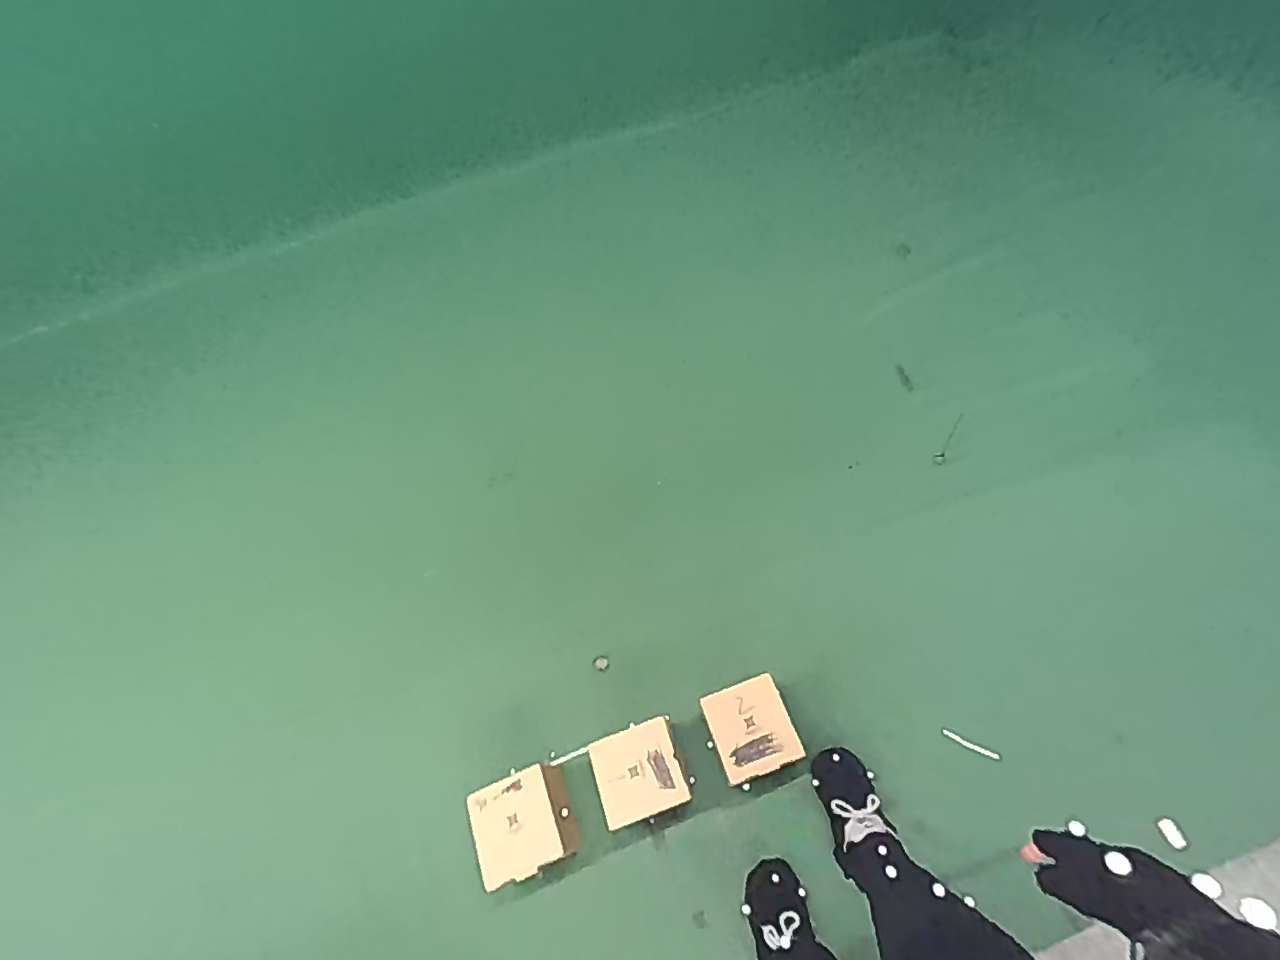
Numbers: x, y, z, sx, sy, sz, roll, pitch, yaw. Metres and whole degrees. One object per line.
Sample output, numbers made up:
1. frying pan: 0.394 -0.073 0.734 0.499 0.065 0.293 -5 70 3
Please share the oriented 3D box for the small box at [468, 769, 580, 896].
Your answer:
1. small box: -0.241 0.737 1.153 0.168 0.176 0.179 -23 61 -5
